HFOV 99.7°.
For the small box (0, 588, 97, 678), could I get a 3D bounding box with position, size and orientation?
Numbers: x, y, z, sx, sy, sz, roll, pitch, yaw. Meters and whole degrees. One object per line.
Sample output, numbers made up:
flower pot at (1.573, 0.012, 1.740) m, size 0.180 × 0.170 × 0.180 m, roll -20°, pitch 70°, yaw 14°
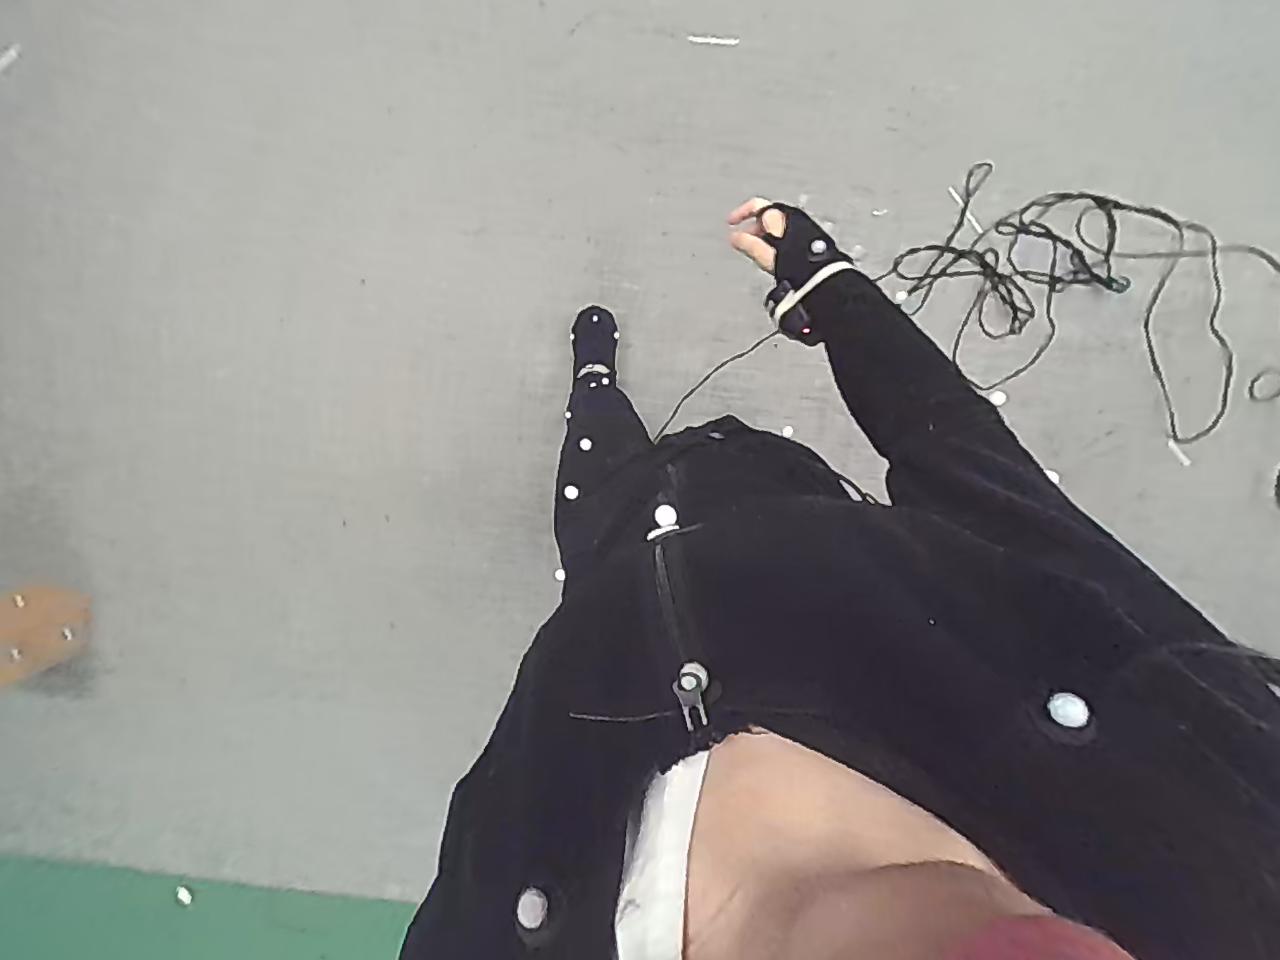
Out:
small box at (-1.658, 0.413, 1.486) m, size 0.179 × 0.176 × 0.168 m, roll 13°, pitch 99°, yaw -2°
